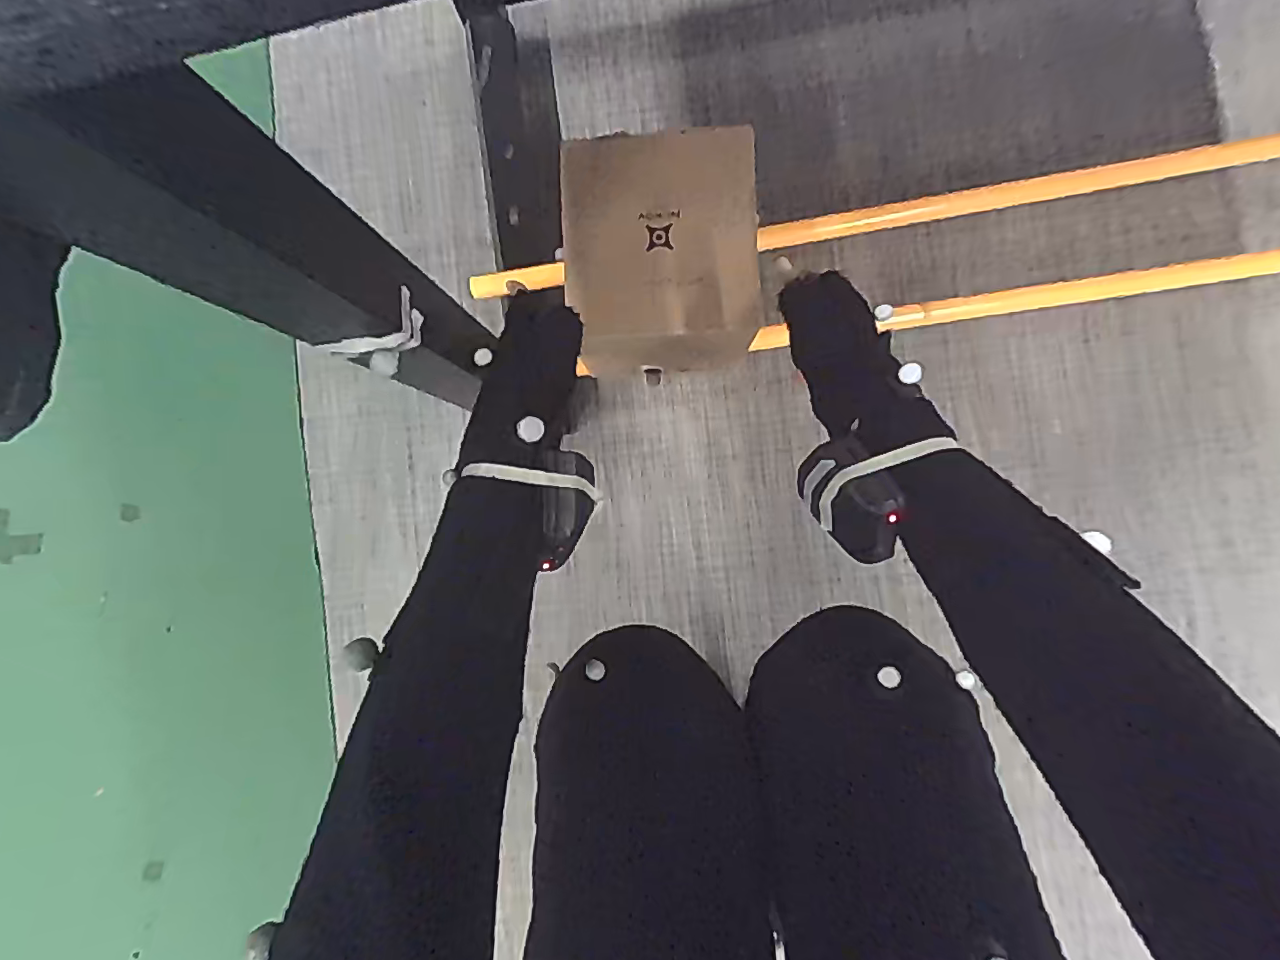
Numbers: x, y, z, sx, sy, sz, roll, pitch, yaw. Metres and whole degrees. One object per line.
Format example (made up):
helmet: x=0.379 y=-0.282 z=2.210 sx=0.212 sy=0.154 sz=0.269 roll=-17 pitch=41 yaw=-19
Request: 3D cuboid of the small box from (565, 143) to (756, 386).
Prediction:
small box: x=0.021 y=-0.200 z=0.547 sx=0.168 sy=0.176 sz=0.179 roll=-2 pitch=89 yaw=4
